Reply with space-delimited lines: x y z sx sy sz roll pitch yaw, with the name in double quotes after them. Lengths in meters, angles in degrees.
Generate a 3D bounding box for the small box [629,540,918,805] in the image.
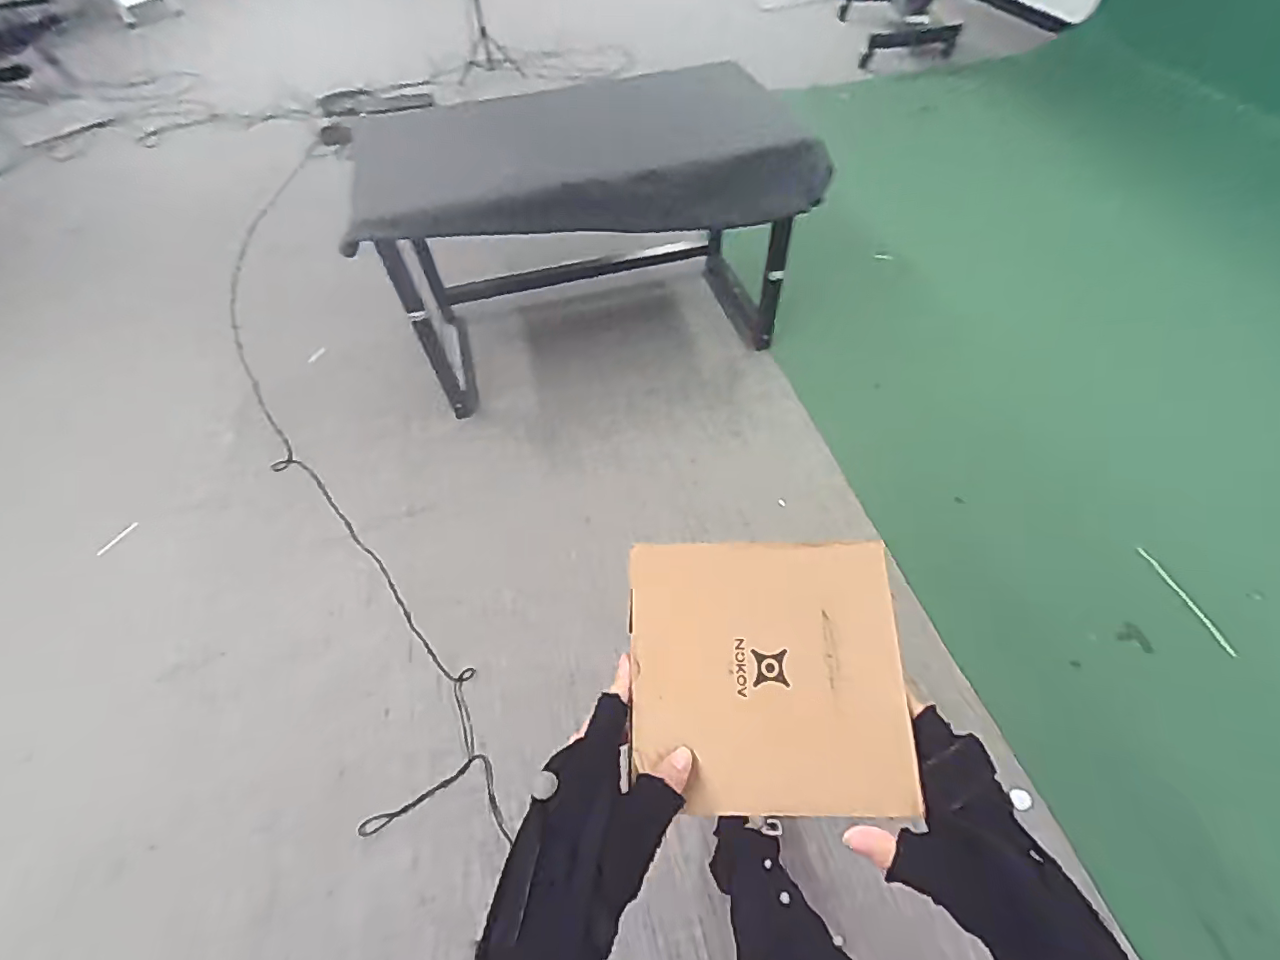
0.083 0.147 0.430 0.179 0.176 0.168 -2 71 0 "small box"
